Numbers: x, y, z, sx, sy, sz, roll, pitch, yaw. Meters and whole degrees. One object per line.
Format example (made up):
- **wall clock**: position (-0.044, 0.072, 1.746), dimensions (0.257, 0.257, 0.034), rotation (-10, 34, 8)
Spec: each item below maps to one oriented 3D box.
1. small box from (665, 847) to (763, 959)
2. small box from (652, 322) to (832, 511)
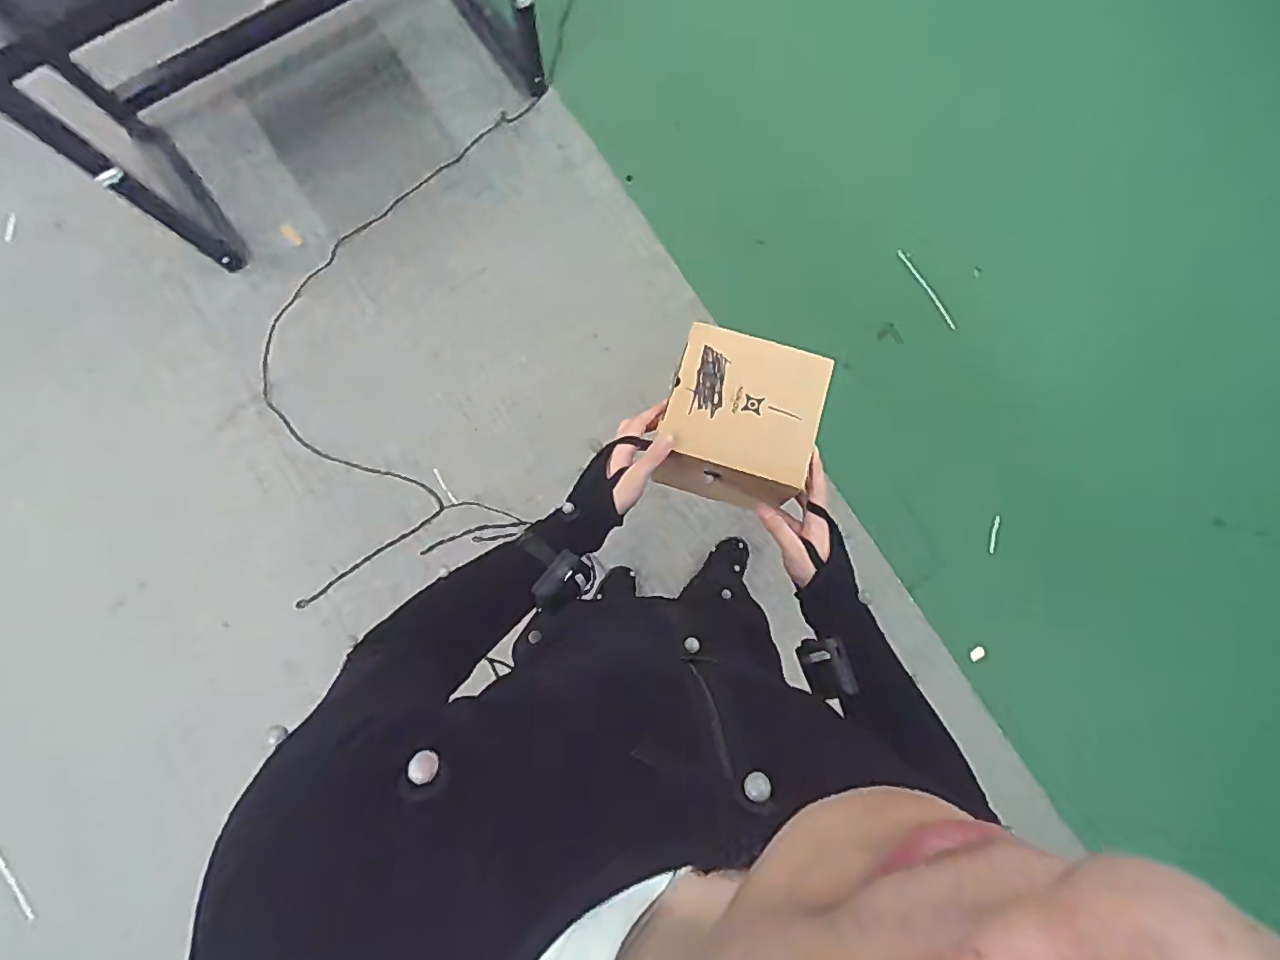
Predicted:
- **small box**: position (0.181, 1.095, 1.395), dimensions (0.179, 0.176, 0.168), rotation (42, 83, 2)
- **small box**: position (0.118, -0.069, 0.691), dimensions (0.179, 0.176, 0.168), rotation (16, 76, 4)
